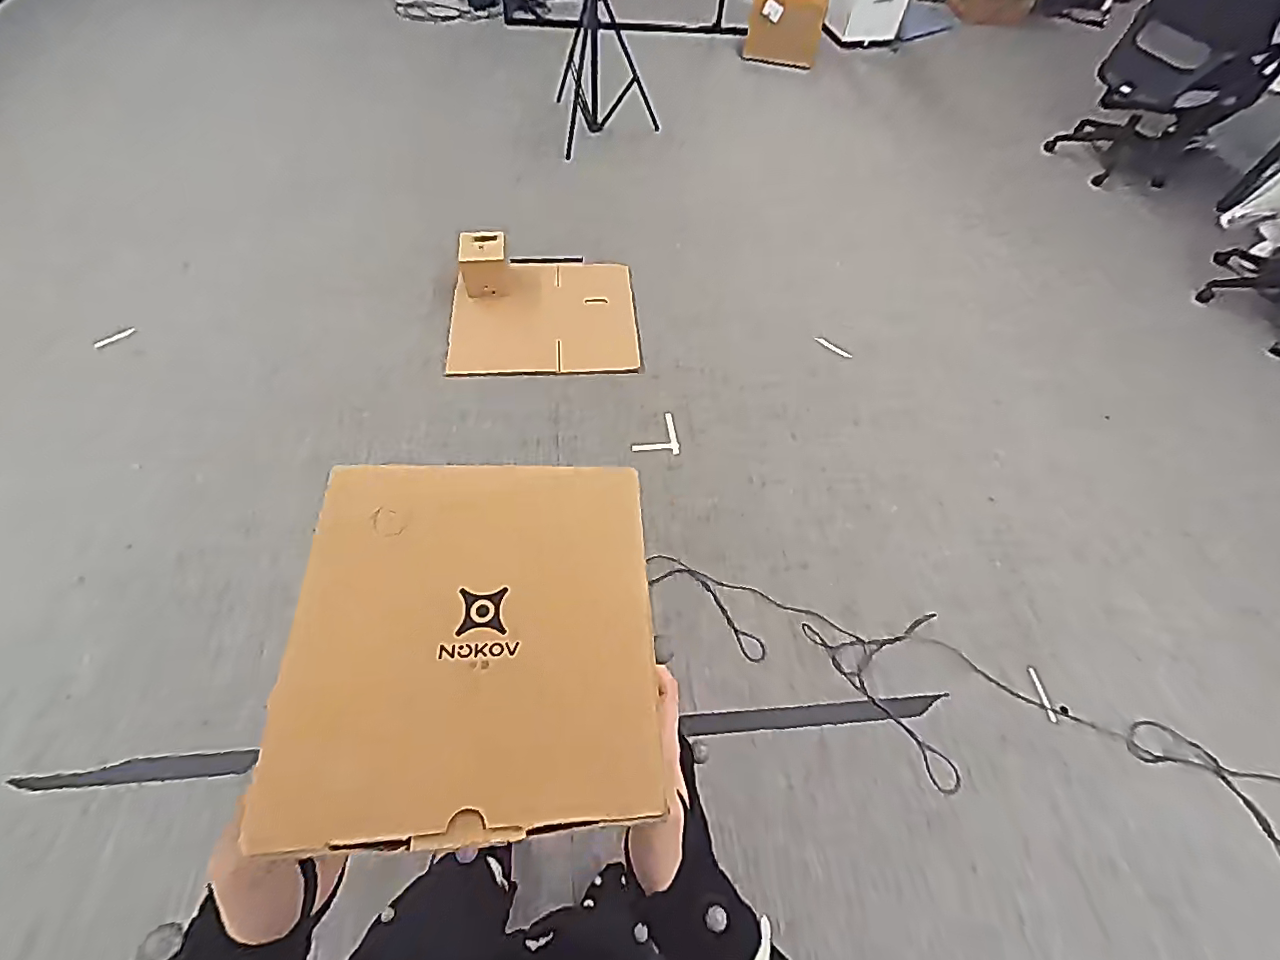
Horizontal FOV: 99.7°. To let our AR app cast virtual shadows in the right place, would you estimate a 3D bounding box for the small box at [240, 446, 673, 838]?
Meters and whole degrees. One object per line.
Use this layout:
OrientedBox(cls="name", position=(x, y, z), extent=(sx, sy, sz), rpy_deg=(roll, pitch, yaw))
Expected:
OrientedBox(cls="small box", position=(-0.085, 0.098, 0.319), extent=(0.168, 0.176, 0.179), rpy_deg=(0, 60, -10))
